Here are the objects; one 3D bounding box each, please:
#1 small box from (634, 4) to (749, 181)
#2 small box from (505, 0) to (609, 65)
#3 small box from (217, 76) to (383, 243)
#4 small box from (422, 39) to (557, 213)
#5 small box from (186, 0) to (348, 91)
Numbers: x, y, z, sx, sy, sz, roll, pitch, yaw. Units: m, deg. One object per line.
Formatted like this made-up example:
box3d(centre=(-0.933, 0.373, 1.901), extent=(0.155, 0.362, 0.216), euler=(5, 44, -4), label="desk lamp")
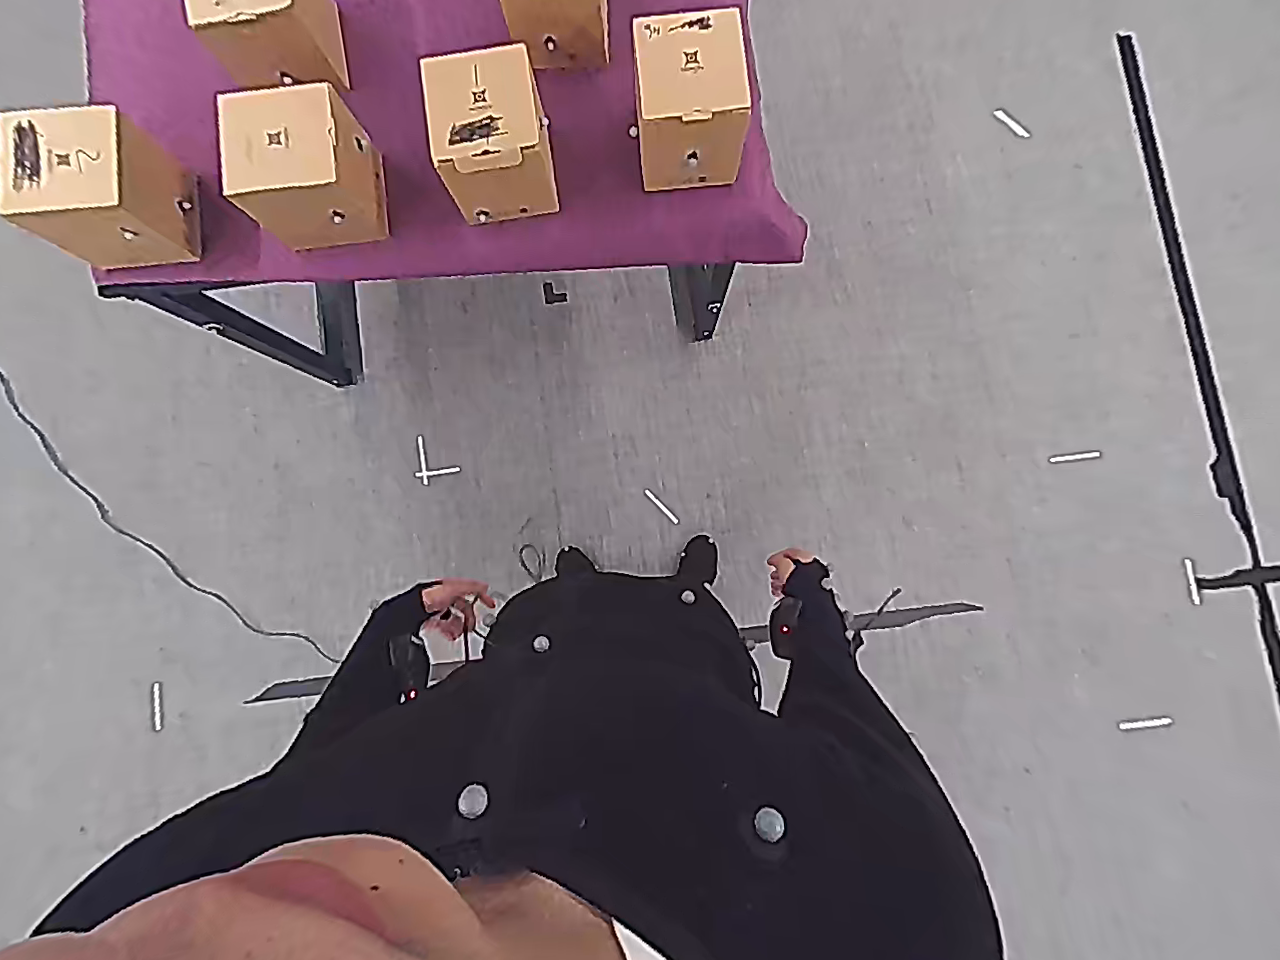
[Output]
box3d(centre=(0.080, -0.620, 0.889), extent=(0.168, 0.176, 0.179), euler=(-4, 84, 1), label="small box")
box3d(centre=(-0.141, -0.856, 0.917), extent=(0.168, 0.176, 0.179), euler=(-1, 87, 1), label="small box")
box3d(centre=(-0.543, -0.516, 0.890), extent=(0.179, 0.176, 0.168), euler=(-7, 85, 0), label="small box")
box3d(centre=(-0.238, -0.565, 0.891), extent=(0.168, 0.176, 0.179), euler=(-8, 84, 0), label="small box")
box3d(centre=(-0.626, -0.796, 0.916), extent=(0.168, 0.176, 0.179), euler=(-10, 86, 0), label="small box")
